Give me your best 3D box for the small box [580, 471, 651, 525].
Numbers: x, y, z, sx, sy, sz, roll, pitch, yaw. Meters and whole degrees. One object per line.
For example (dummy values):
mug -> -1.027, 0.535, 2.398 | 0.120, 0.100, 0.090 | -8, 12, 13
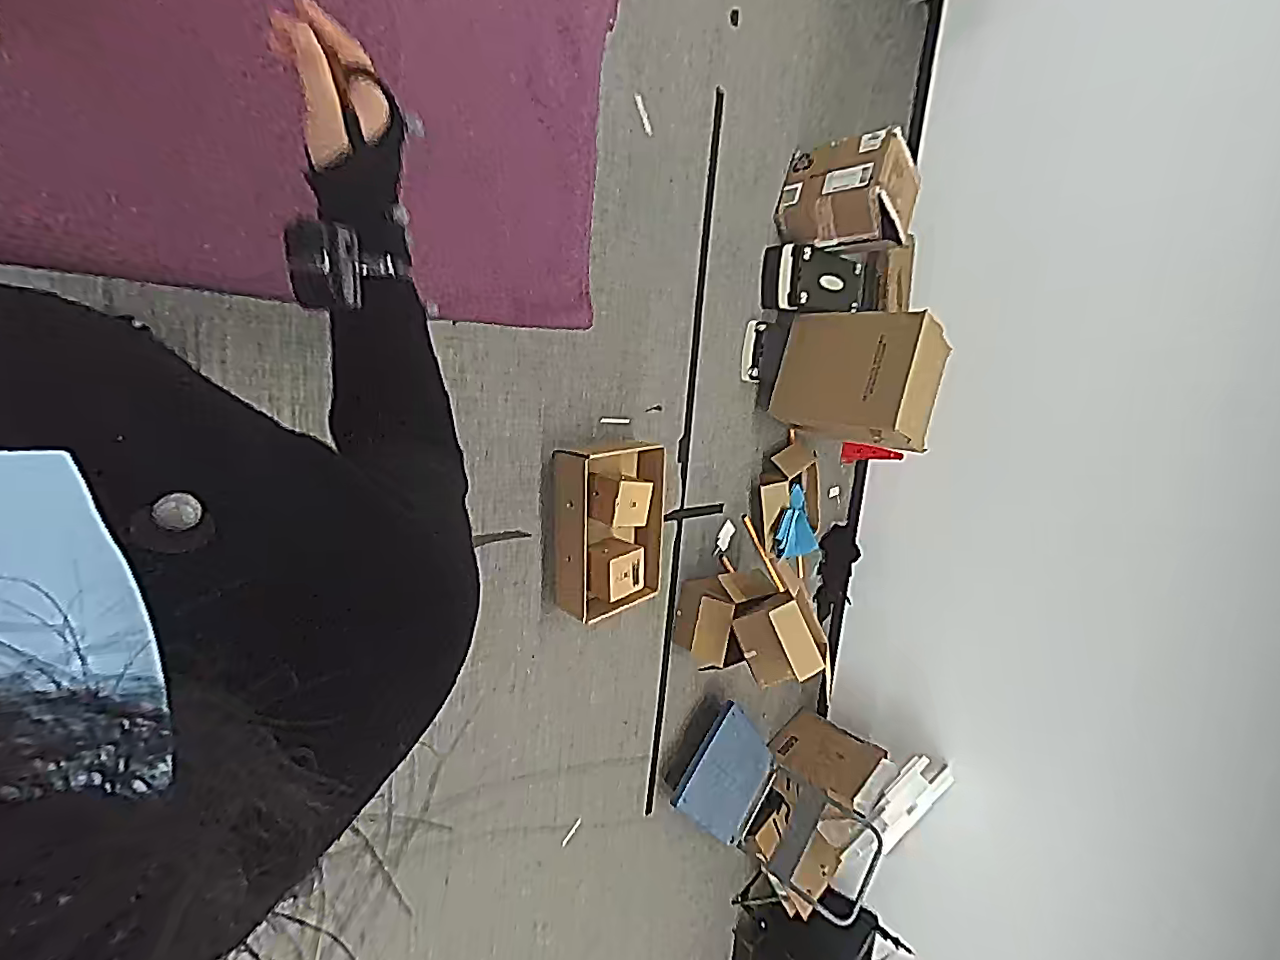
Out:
small box -> -0.091, 0.064, 1.988 | 0.179, 0.176, 0.168 | 3, 100, -47
